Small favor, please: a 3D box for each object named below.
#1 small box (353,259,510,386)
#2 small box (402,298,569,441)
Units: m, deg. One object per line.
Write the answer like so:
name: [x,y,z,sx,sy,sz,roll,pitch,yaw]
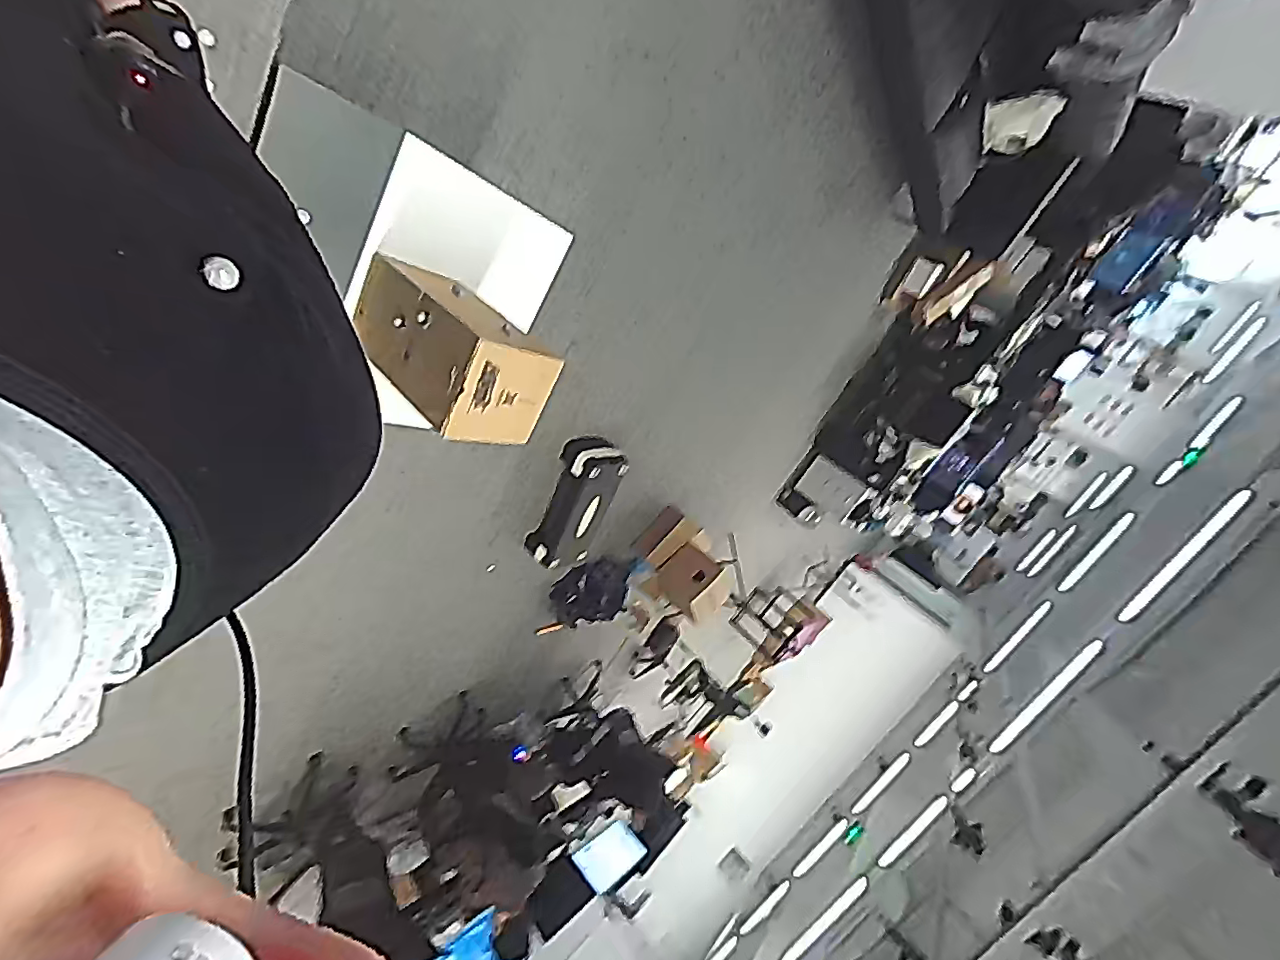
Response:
small box: [-0.372,-0.271,0.966,0.179,0.176,0.168,-4,126,-56]
small box: [-0.258,-0.179,0.890,0.179,0.176,0.168,-3,126,-56]
